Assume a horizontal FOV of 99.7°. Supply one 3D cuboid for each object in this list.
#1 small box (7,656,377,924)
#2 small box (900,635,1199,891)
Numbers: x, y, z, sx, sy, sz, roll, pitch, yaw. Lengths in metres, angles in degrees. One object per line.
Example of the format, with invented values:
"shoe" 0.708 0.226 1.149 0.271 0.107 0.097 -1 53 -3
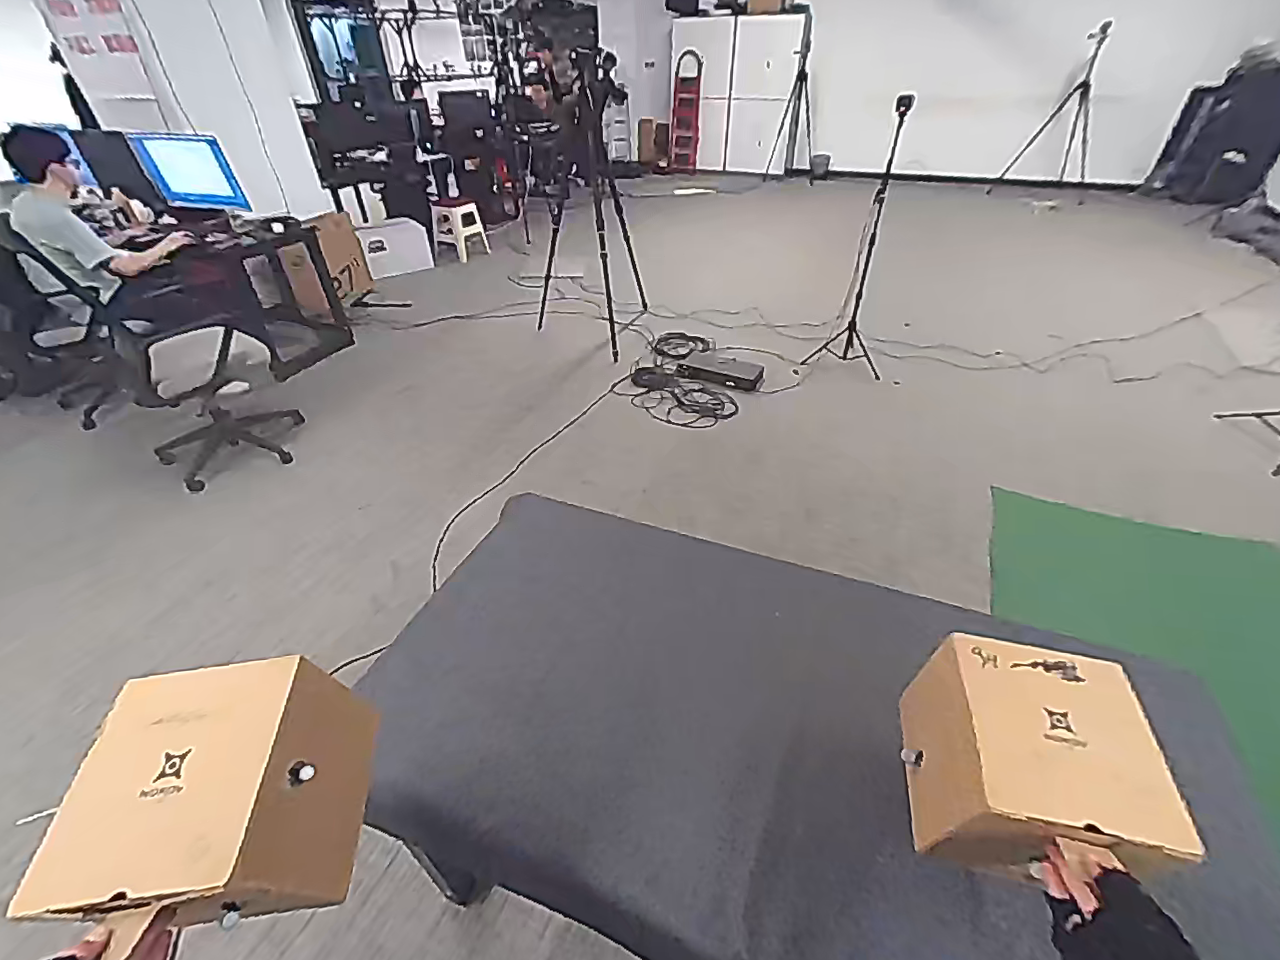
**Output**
"small box" -0.369 0.286 0.496 0.168 0.176 0.179 -8 49 0
"small box" 0.387 0.292 0.557 0.168 0.176 0.179 10 46 8
